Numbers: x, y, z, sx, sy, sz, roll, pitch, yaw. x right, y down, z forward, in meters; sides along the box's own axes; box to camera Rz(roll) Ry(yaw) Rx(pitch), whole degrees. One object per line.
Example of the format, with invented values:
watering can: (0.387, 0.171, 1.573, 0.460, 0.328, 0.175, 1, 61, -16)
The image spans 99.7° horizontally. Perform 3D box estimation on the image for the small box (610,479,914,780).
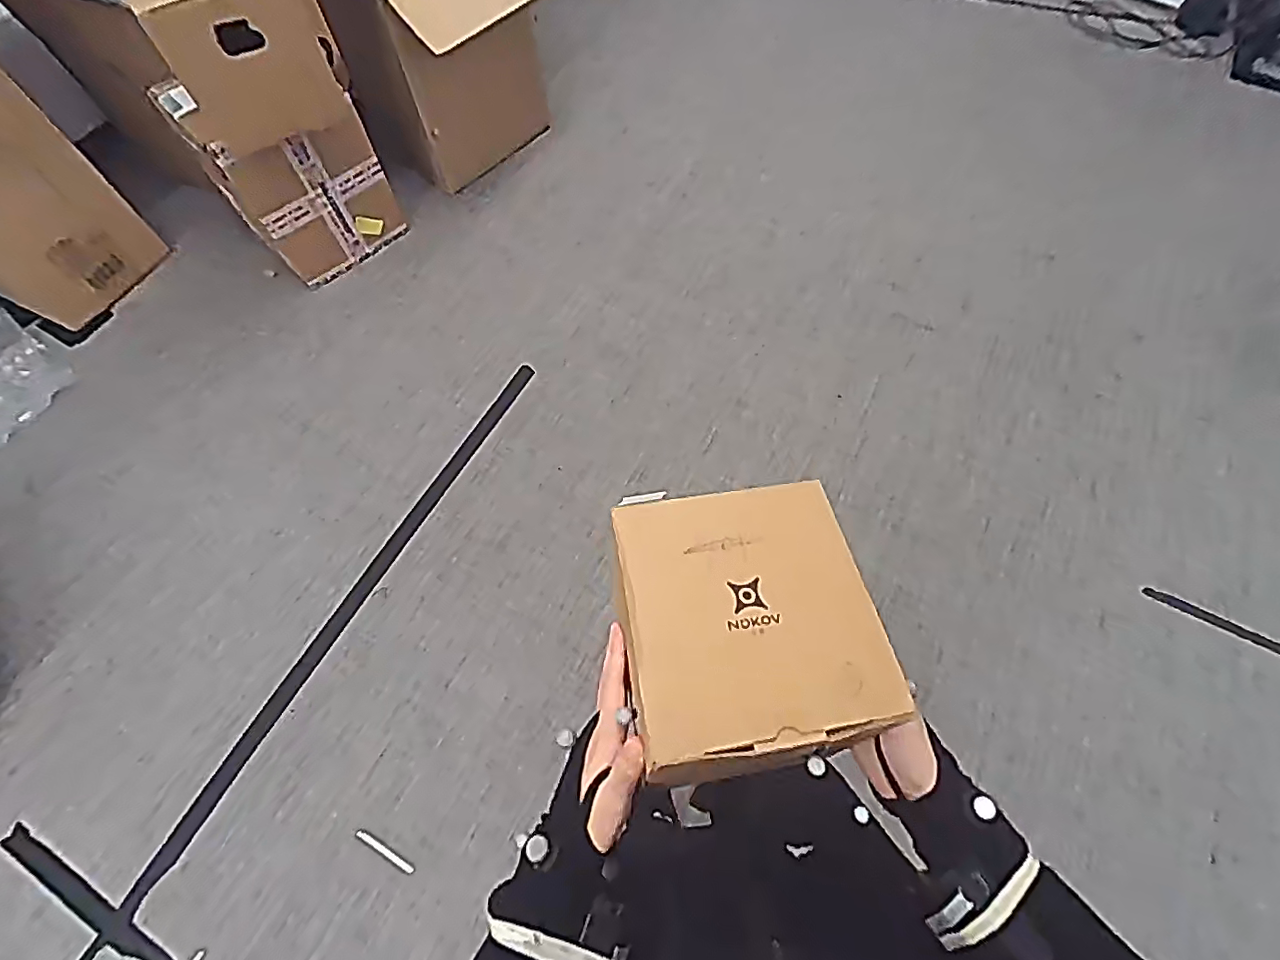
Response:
small box: (0.070, 0.125, 0.427, 0.168, 0.176, 0.179, -7, 55, -8)
